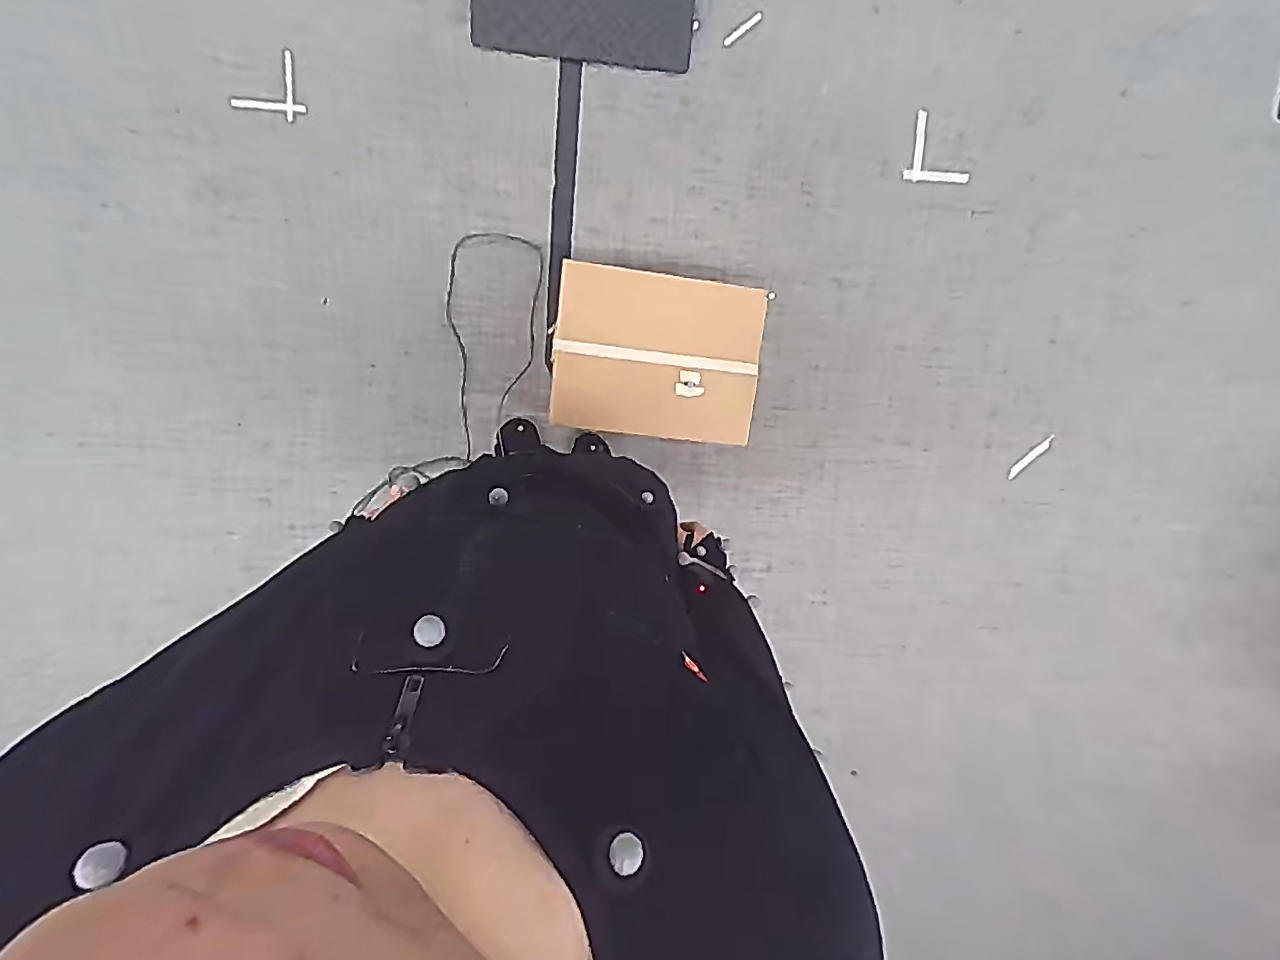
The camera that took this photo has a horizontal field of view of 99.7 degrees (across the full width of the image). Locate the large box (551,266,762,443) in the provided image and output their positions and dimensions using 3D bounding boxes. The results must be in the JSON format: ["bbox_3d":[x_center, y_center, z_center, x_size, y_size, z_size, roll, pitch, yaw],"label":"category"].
[{"bbox_3d":[0.012,-0.263,1.212,0.408,0.320,0.320,5,99,-9],"label":"large box"}]

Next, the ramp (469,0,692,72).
[{"bbox_3d":[-0.097,-1.425,1.067,0.509,0.206,0.991,1,100,-8],"label":"ramp"}]
